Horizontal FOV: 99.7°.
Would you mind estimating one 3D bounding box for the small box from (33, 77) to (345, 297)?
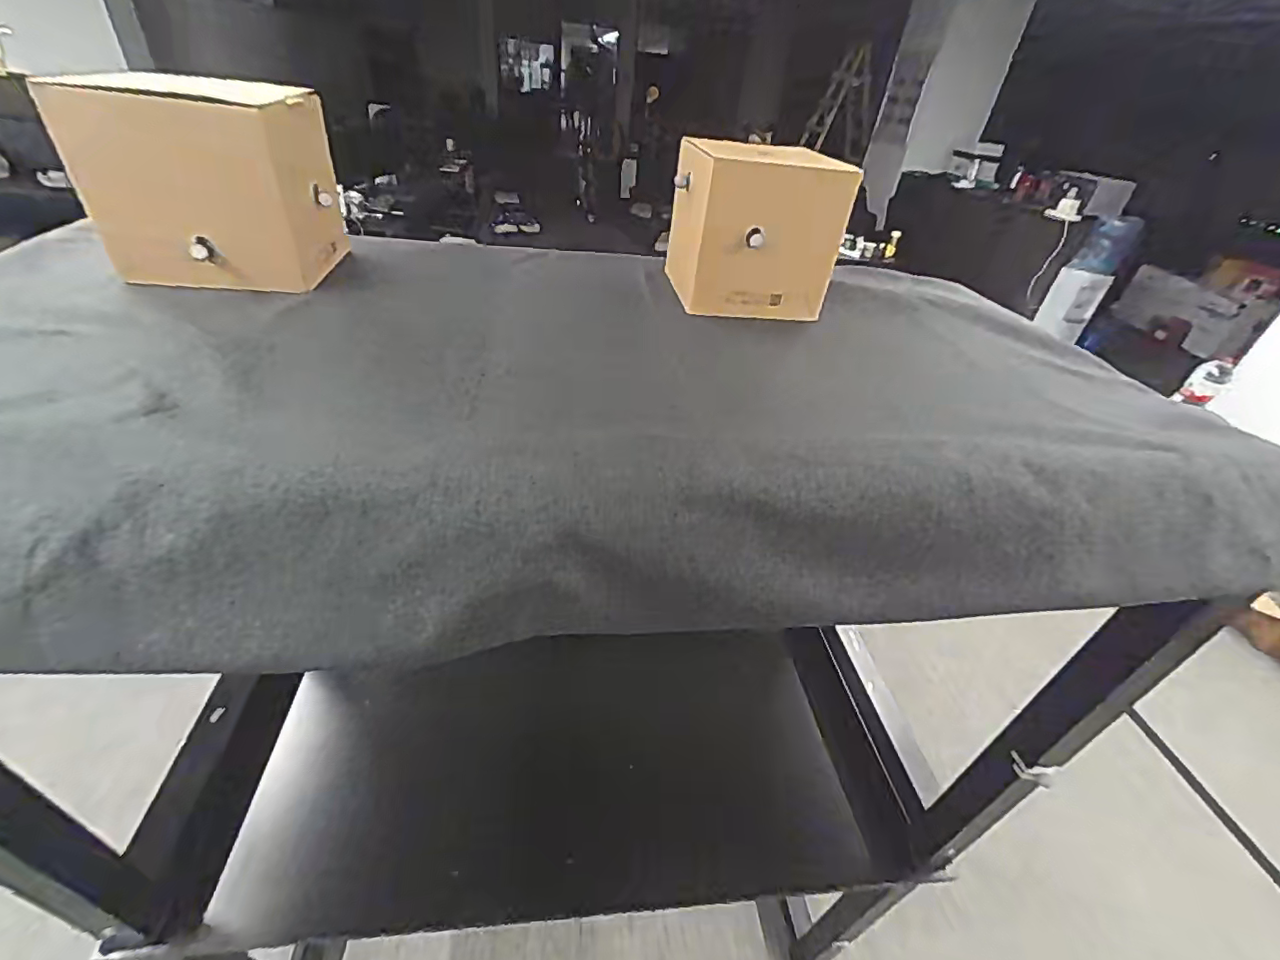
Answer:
[{"bbox_3d":[-0.433,-0.303,0.567,0.179,0.176,0.168,0,37,-11],"label":"small box"}]

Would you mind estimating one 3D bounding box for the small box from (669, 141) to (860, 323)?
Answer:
[{"bbox_3d":[0.135,-0.303,0.665,0.168,0.176,0.179,0,37,-9],"label":"small box"}]
